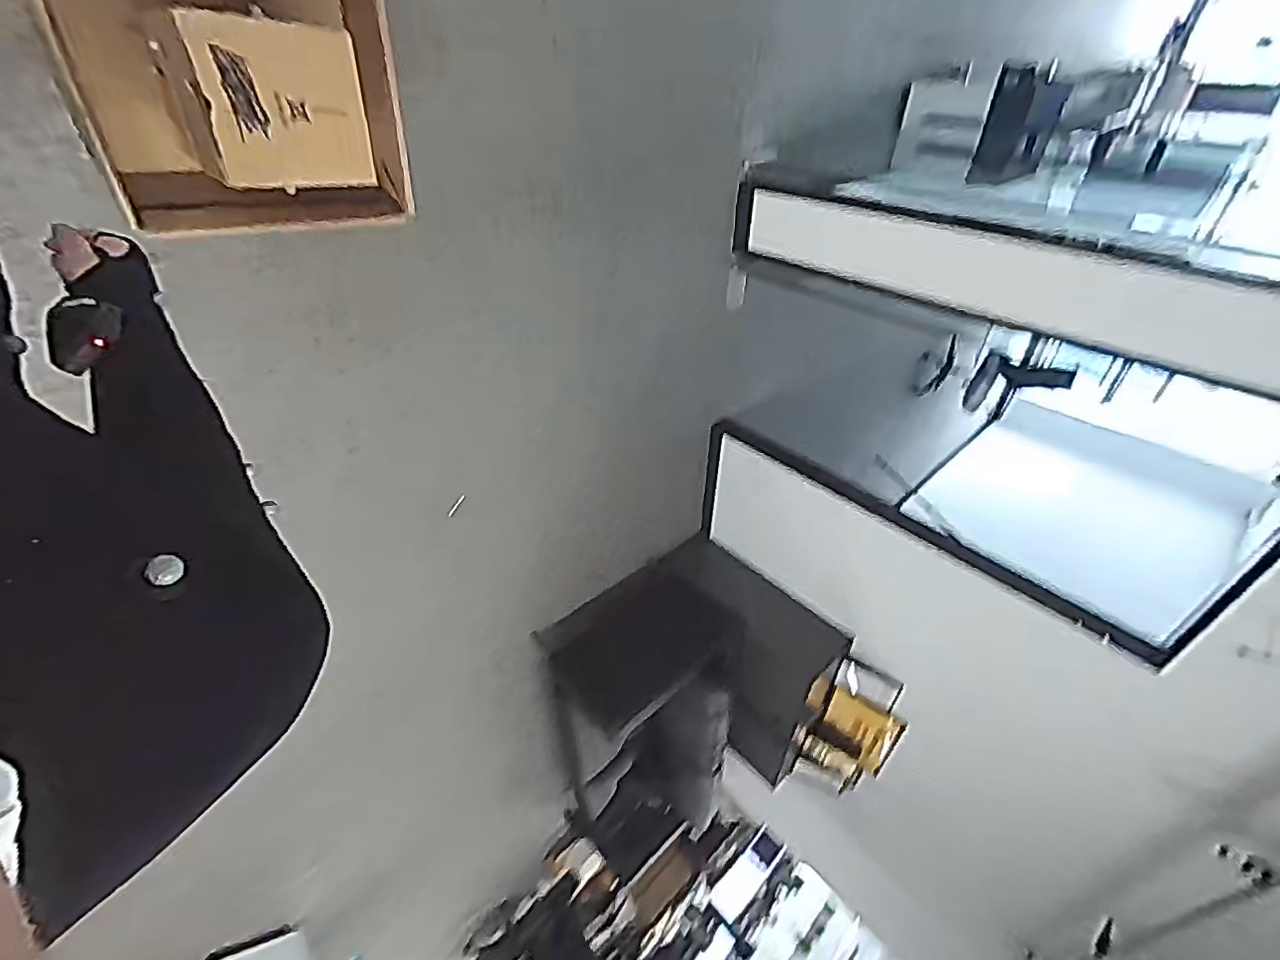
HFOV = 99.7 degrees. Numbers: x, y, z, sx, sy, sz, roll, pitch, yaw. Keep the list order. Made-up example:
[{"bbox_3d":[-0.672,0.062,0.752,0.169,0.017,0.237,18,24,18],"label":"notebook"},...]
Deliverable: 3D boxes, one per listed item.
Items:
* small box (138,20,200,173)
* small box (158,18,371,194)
[{"bbox_3d":[-0.592,-0.547,0.791,0.179,0.176,0.168,-24,134,-37],"label":"small box"},{"bbox_3d":[-0.481,-0.471,0.697,0.179,0.176,0.168,-25,135,-37],"label":"small box"}]
